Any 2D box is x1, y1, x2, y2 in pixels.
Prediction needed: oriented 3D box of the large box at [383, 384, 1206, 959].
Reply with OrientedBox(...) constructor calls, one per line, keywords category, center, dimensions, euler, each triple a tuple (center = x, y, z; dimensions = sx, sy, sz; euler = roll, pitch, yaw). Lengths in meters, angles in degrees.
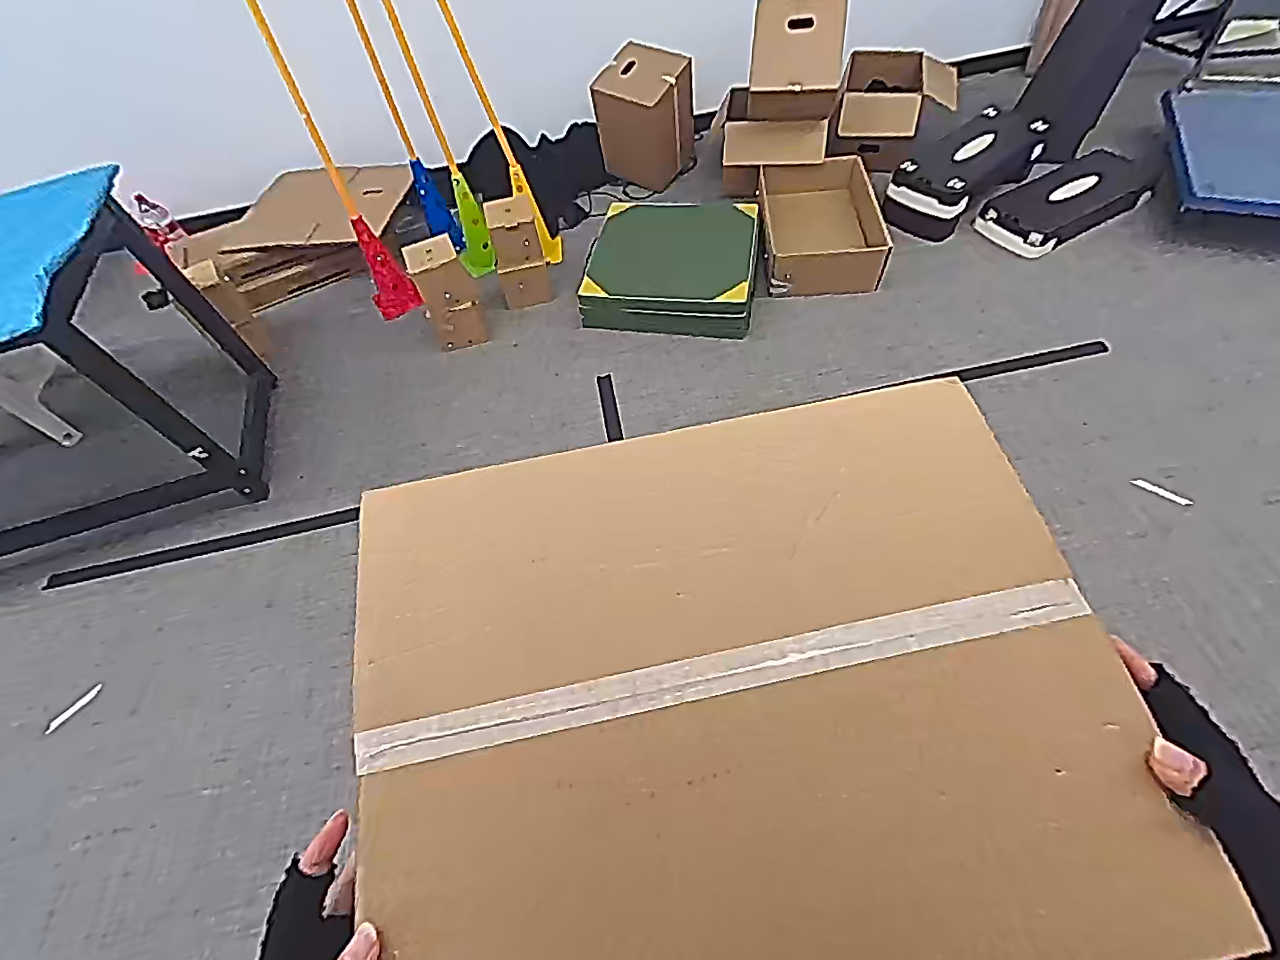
OrientedBox(category="large box", center=(0.056, 0.171, 0.447), dimensions=(0.408, 0.320, 0.320), euler=(-12, 66, -2))
